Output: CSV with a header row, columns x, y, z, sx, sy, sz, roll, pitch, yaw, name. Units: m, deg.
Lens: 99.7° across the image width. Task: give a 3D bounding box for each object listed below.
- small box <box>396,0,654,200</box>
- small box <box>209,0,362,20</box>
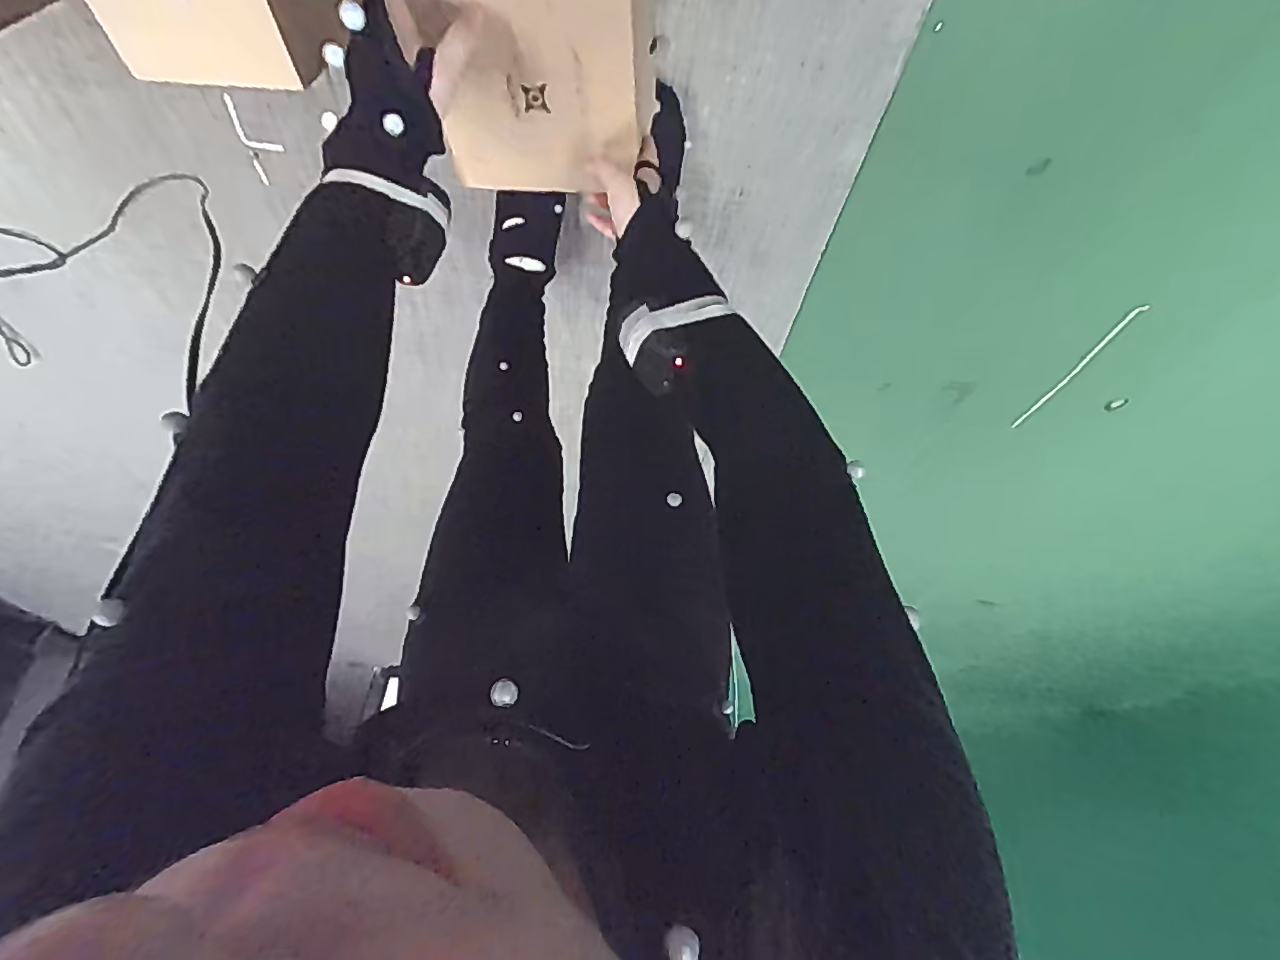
x,y,z,sx,sy,sz,roll,pitch,yaw,name
-0.083,-0.387,0.488,0.179,0.176,0.168,6,155,4,small box
-0.396,-0.647,0.595,0.179,0.176,0.168,5,146,-2,small box
